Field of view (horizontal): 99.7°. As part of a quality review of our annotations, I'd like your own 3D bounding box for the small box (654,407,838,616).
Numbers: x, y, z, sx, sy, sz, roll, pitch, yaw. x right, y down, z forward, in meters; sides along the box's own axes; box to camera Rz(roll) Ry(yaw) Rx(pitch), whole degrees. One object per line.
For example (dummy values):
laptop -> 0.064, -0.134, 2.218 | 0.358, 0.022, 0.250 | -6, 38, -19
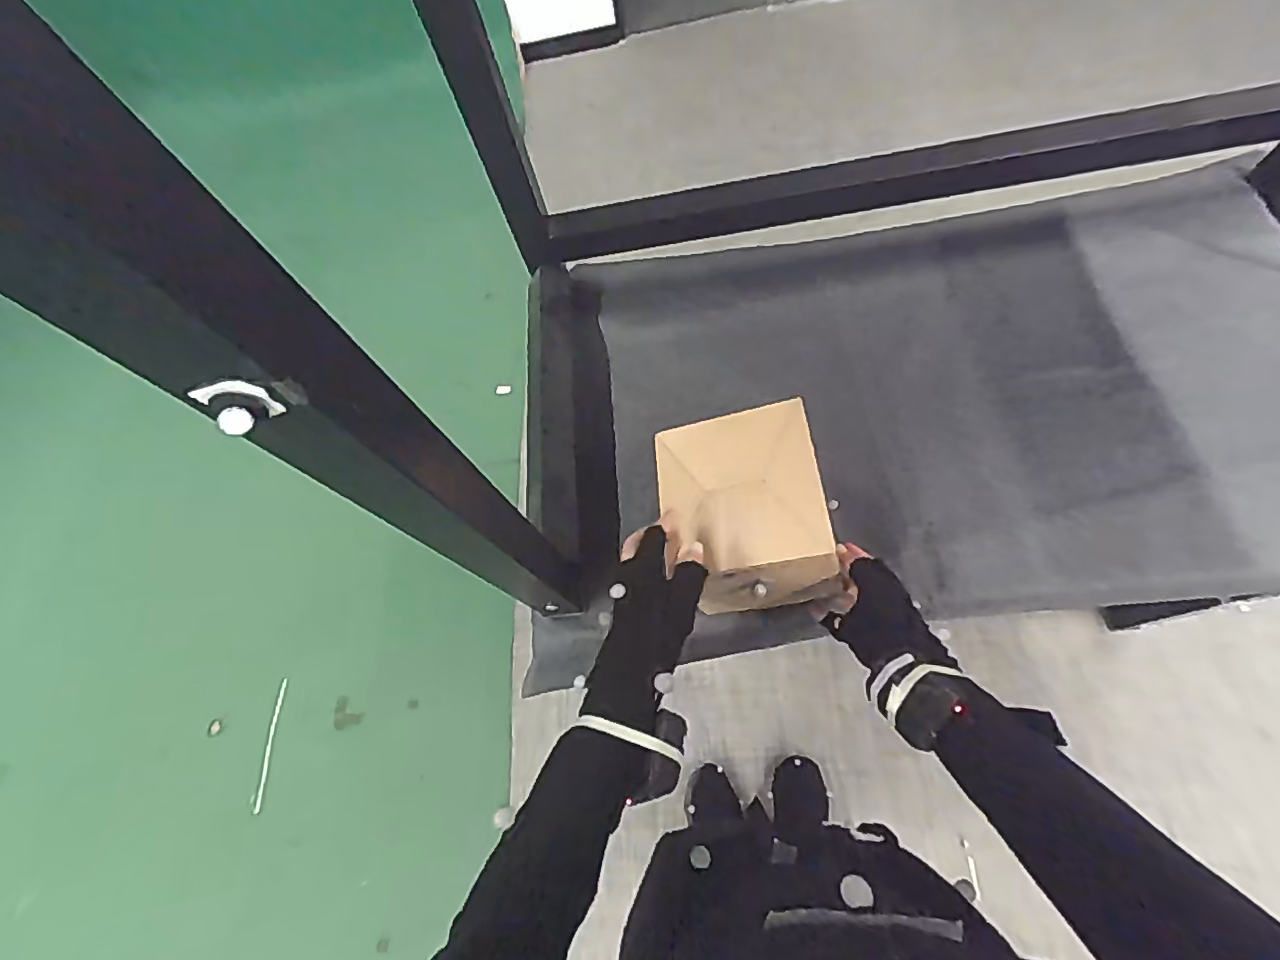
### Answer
small box -> 0.121, 0.042, 0.619 | 0.168, 0.176, 0.179 | -13, 60, 17
